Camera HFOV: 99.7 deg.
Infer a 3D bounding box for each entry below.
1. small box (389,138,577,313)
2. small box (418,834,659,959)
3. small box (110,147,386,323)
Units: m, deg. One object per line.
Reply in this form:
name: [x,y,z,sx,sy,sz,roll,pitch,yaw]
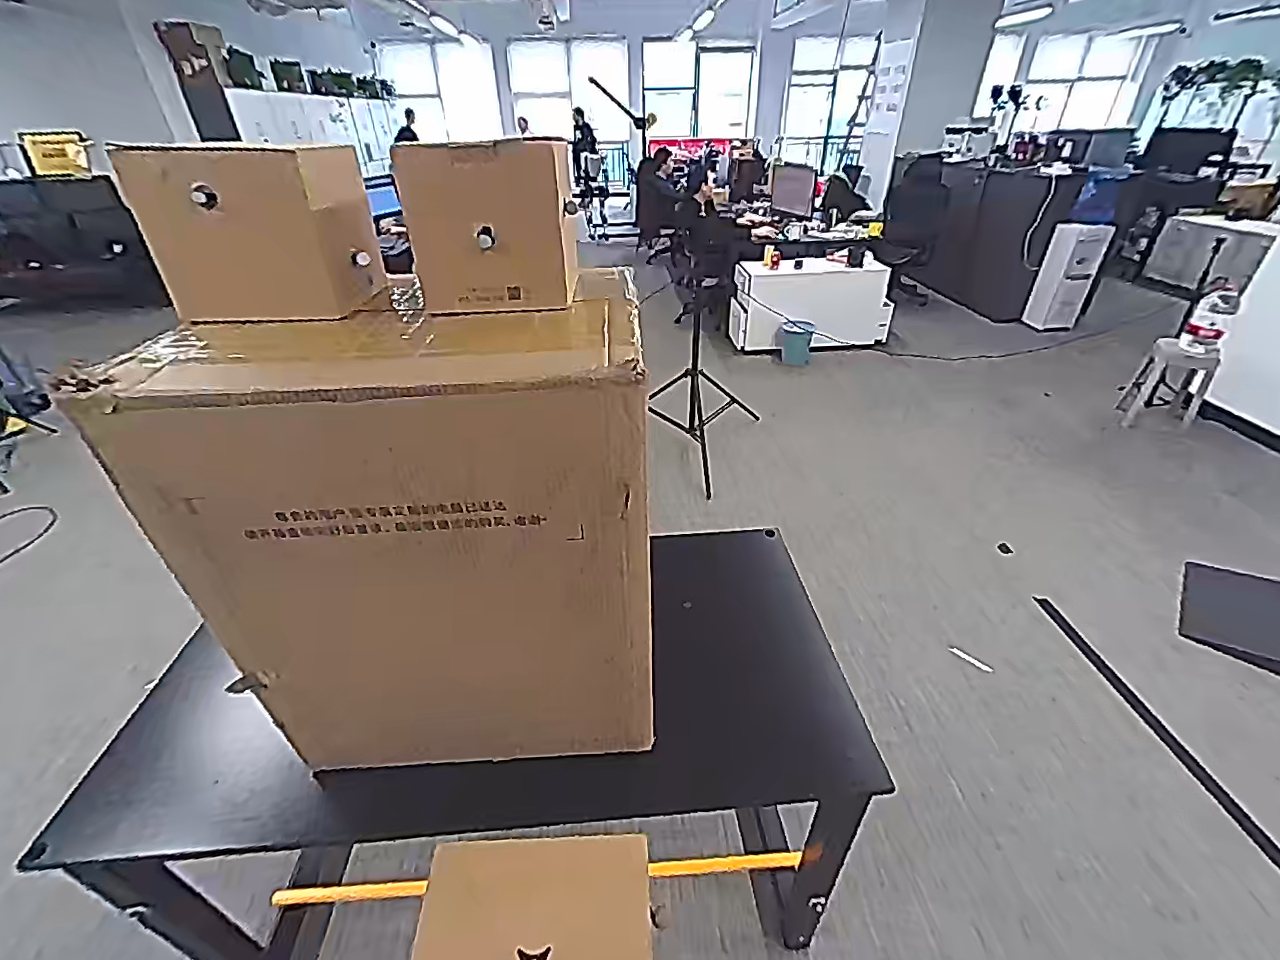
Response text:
small box: [-0.167,-0.302,0.644,0.168,0.176,0.179,-3,33,-1]
small box: [-0.069,0.396,0.403,0.168,0.176,0.179,-1,38,-2]
small box: [-0.424,-0.285,0.626,0.179,0.176,0.168,-2,33,-4]
